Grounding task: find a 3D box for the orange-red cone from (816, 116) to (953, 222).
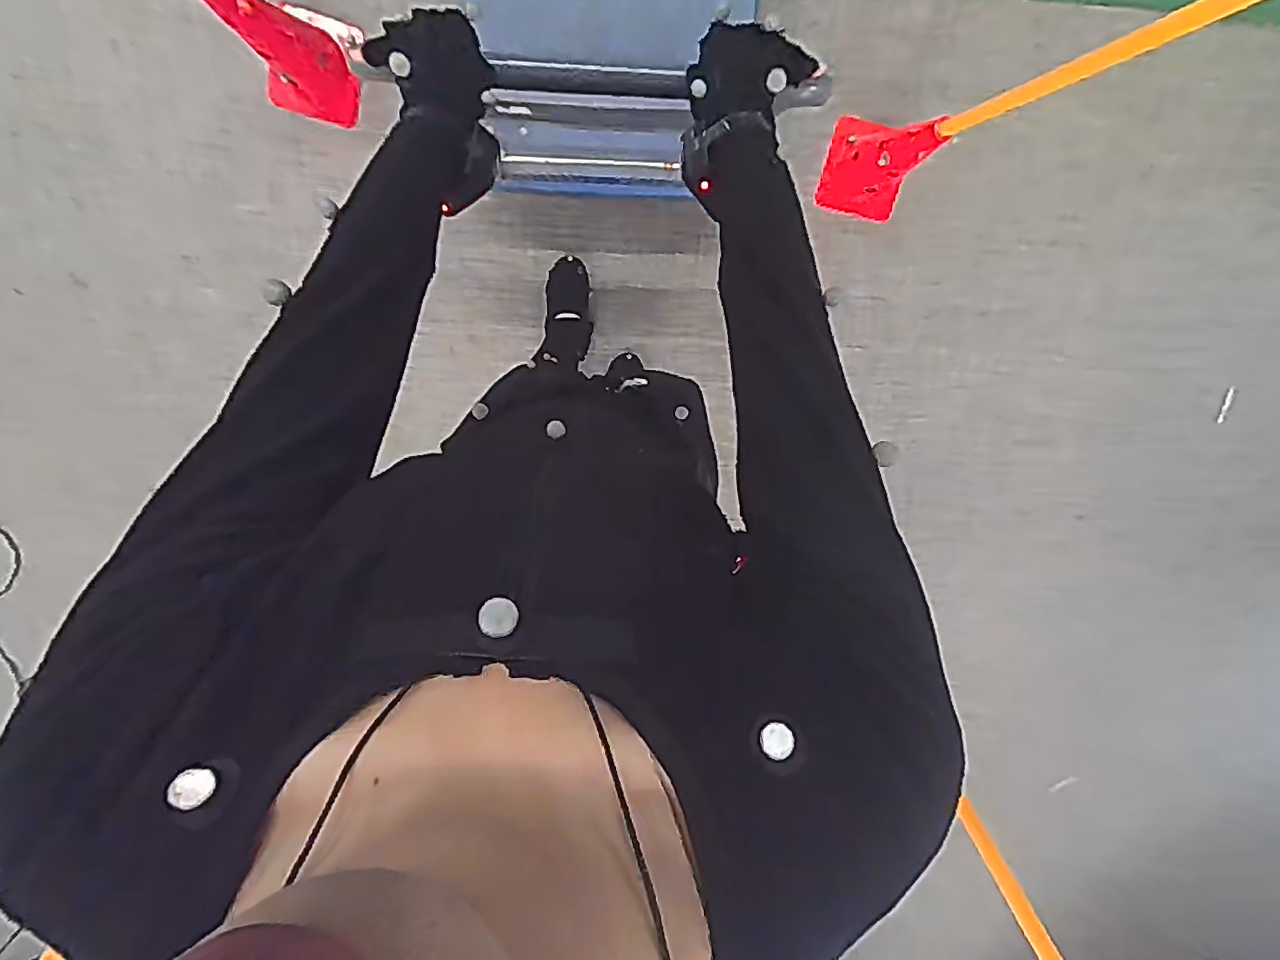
[{"bbox_3d":[0.549,-0.695,1.147,0.198,0.360,0.199,13,108,-6],"label":"orange-red cone"}]
